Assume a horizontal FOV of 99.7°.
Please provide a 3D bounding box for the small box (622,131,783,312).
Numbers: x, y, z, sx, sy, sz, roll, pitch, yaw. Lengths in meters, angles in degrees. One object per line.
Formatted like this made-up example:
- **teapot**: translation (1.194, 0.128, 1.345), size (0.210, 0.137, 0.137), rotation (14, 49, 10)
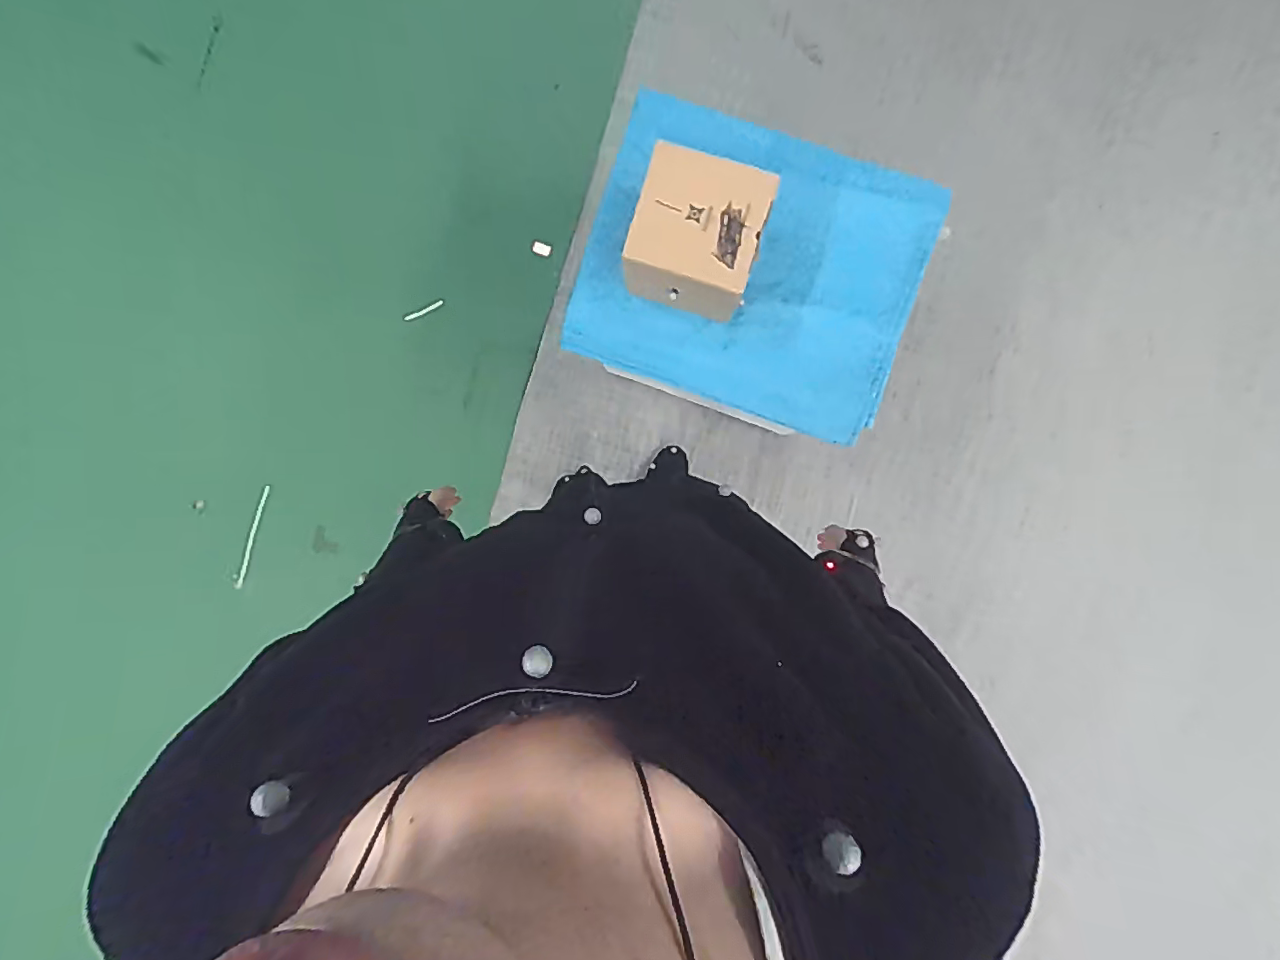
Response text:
- **small box**: translation (0.085, -0.362, 0.797), size (0.179, 0.176, 0.168), rotation (18, 93, 1)
